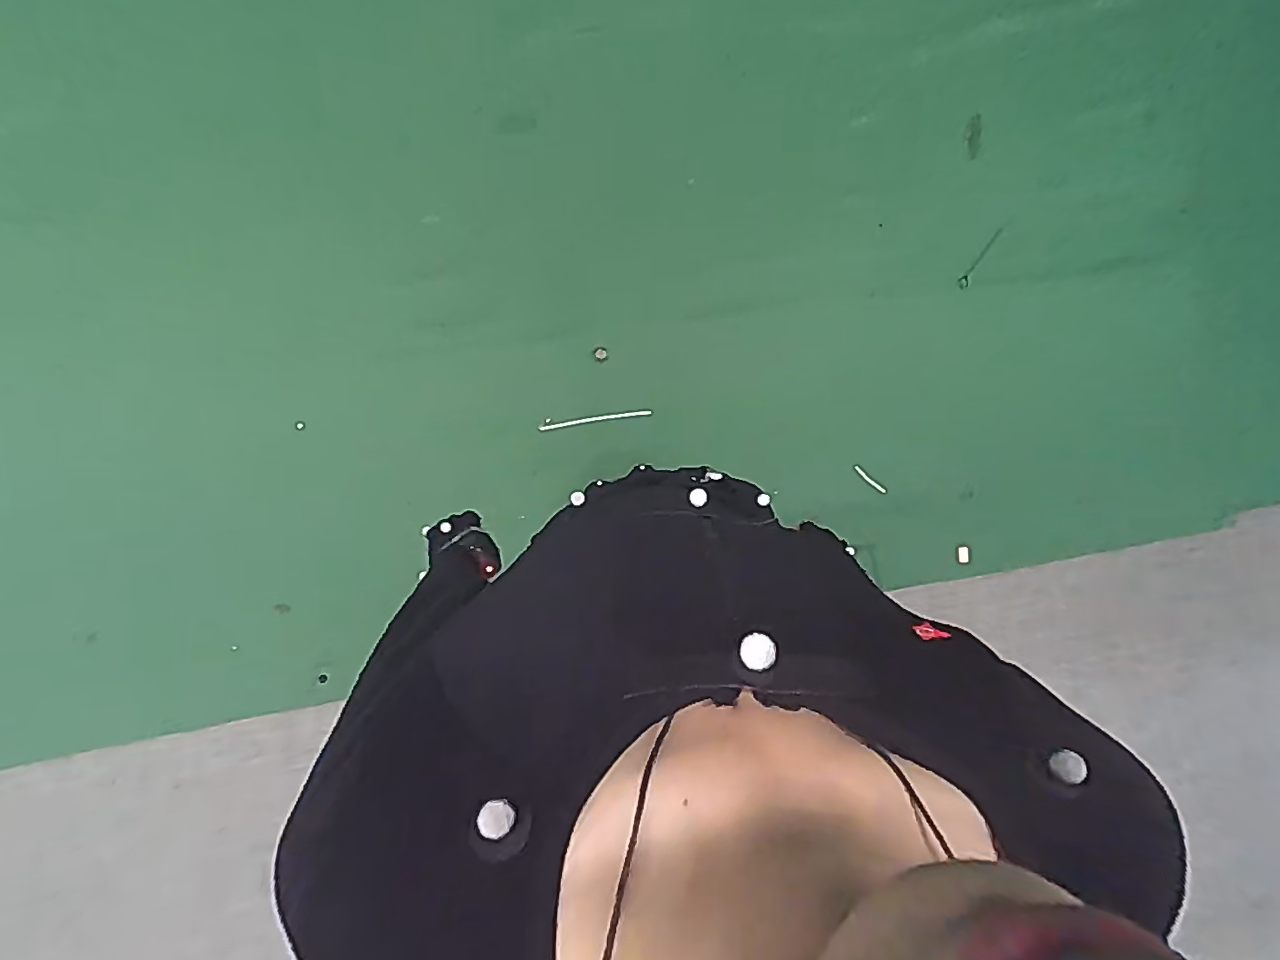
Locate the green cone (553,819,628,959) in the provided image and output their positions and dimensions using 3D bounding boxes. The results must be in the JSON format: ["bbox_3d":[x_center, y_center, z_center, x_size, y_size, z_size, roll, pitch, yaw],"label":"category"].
[{"bbox_3d":[-0.128,1.092,1.383,0.200,0.368,0.202,-8,94,-4],"label":"green cone"}]
